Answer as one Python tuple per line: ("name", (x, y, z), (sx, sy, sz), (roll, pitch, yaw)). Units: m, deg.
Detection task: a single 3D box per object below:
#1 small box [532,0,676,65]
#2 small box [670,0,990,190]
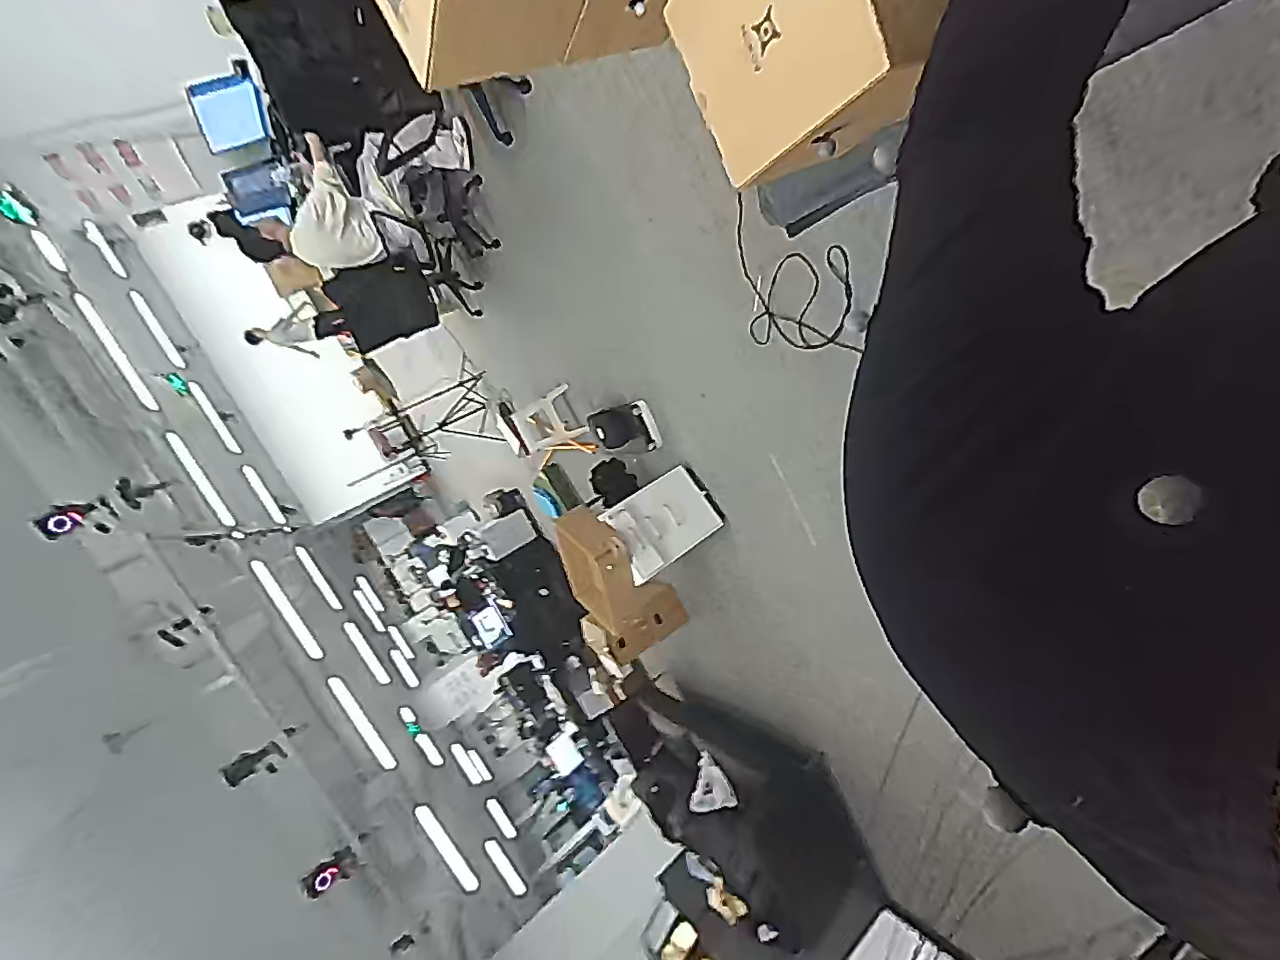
("small box", (-0.026, -0.599, 0.574), (0.168, 0.176, 0.179), (61, 156, -9))
("small box", (0.163, -0.390, 0.462), (0.179, 0.176, 0.168), (-2, 117, 63))
